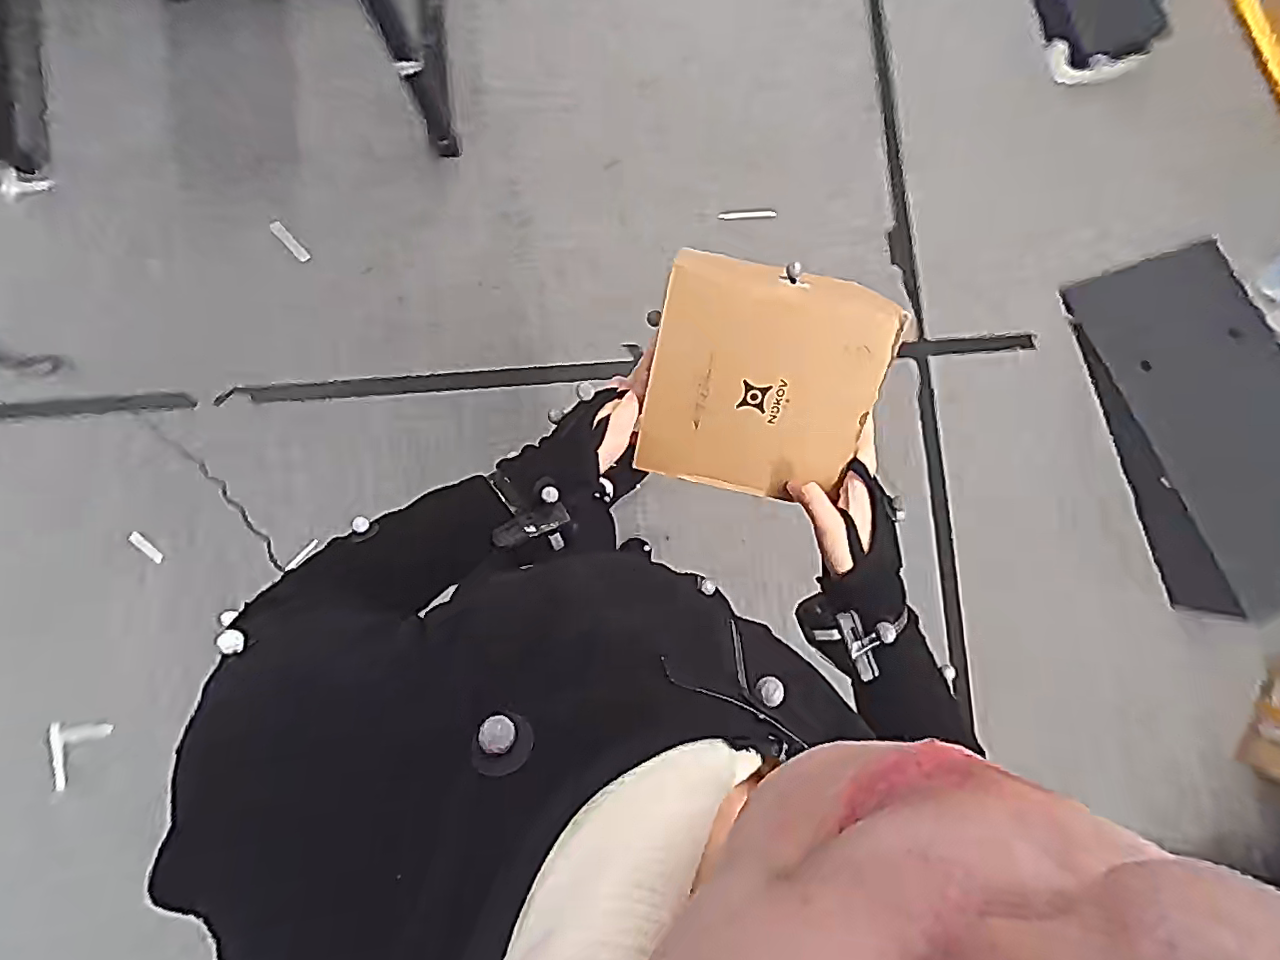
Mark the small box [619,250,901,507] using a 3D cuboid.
[{"bbox_3d":[0.089,-0.100,0.477,0.179,0.176,0.168,12,116,1],"label":"small box"}]
